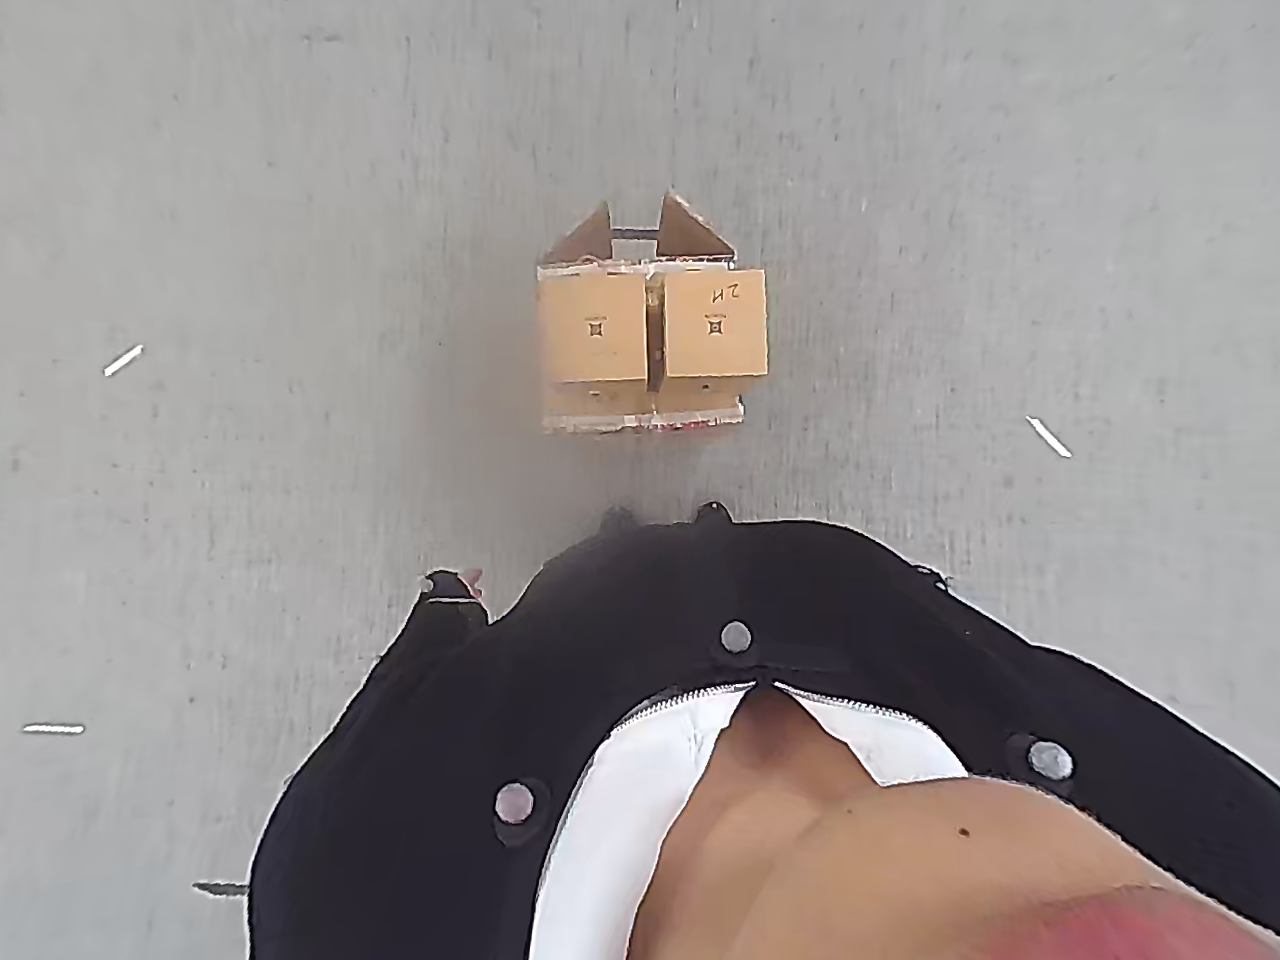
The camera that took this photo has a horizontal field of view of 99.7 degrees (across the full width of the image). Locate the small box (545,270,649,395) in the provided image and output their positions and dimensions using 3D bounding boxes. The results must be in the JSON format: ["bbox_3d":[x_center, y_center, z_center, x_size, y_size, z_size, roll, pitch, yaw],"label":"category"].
[{"bbox_3d":[-0.070,-0.251,0.952,0.168,0.176,0.179,-3,91,1],"label":"small box"}]

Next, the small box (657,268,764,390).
[{"bbox_3d":[0.118,-0.256,0.953,0.168,0.176,0.179,-1,89,-2],"label":"small box"}]
